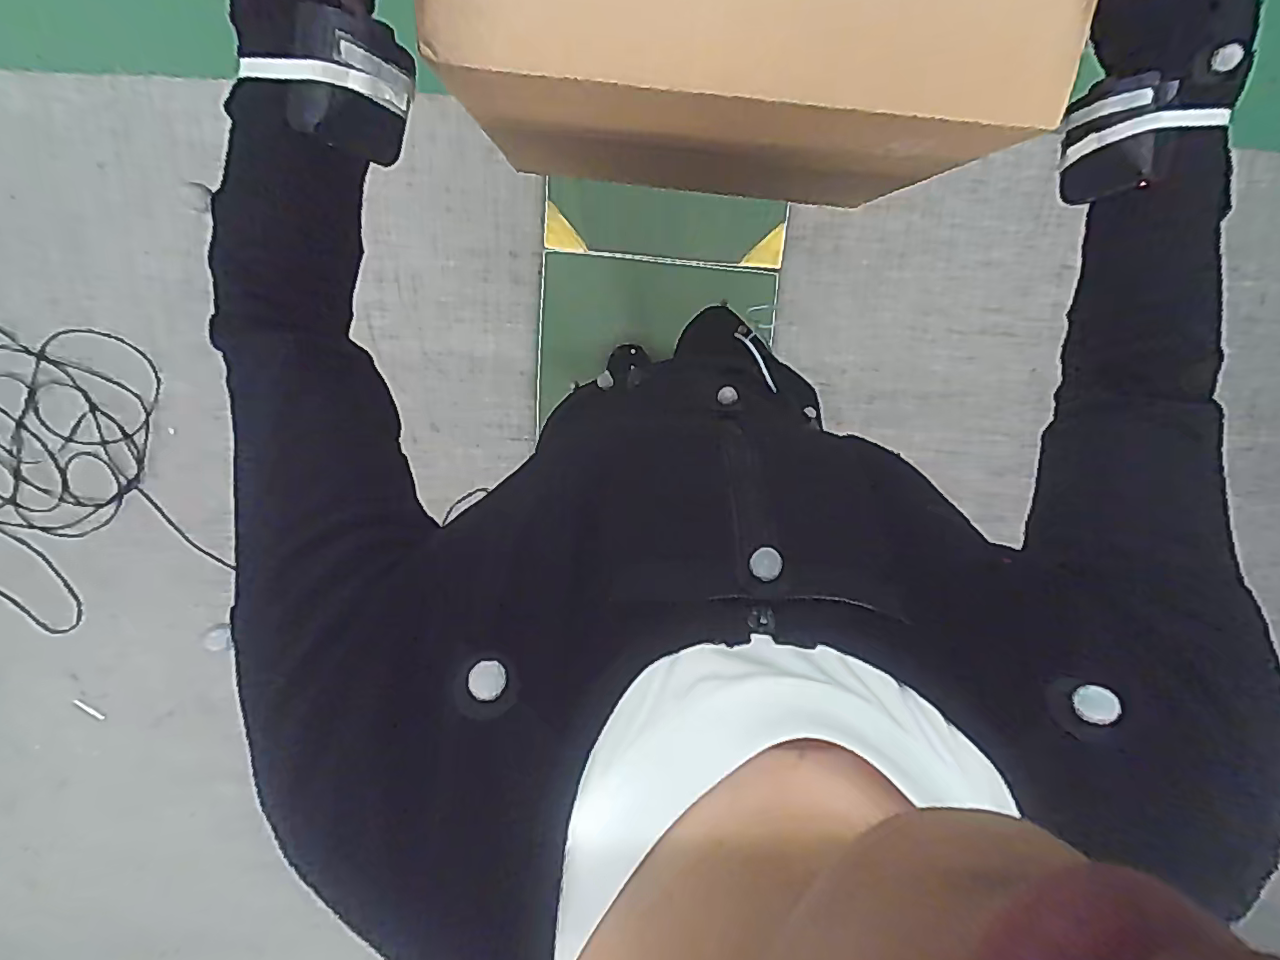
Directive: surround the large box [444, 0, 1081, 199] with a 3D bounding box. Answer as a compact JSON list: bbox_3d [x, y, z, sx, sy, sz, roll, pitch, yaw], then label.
[{"bbox_3d":[0.076,-0.439,0.441,0.408,0.320,0.320,3,108,-4],"label":"large box"}]
